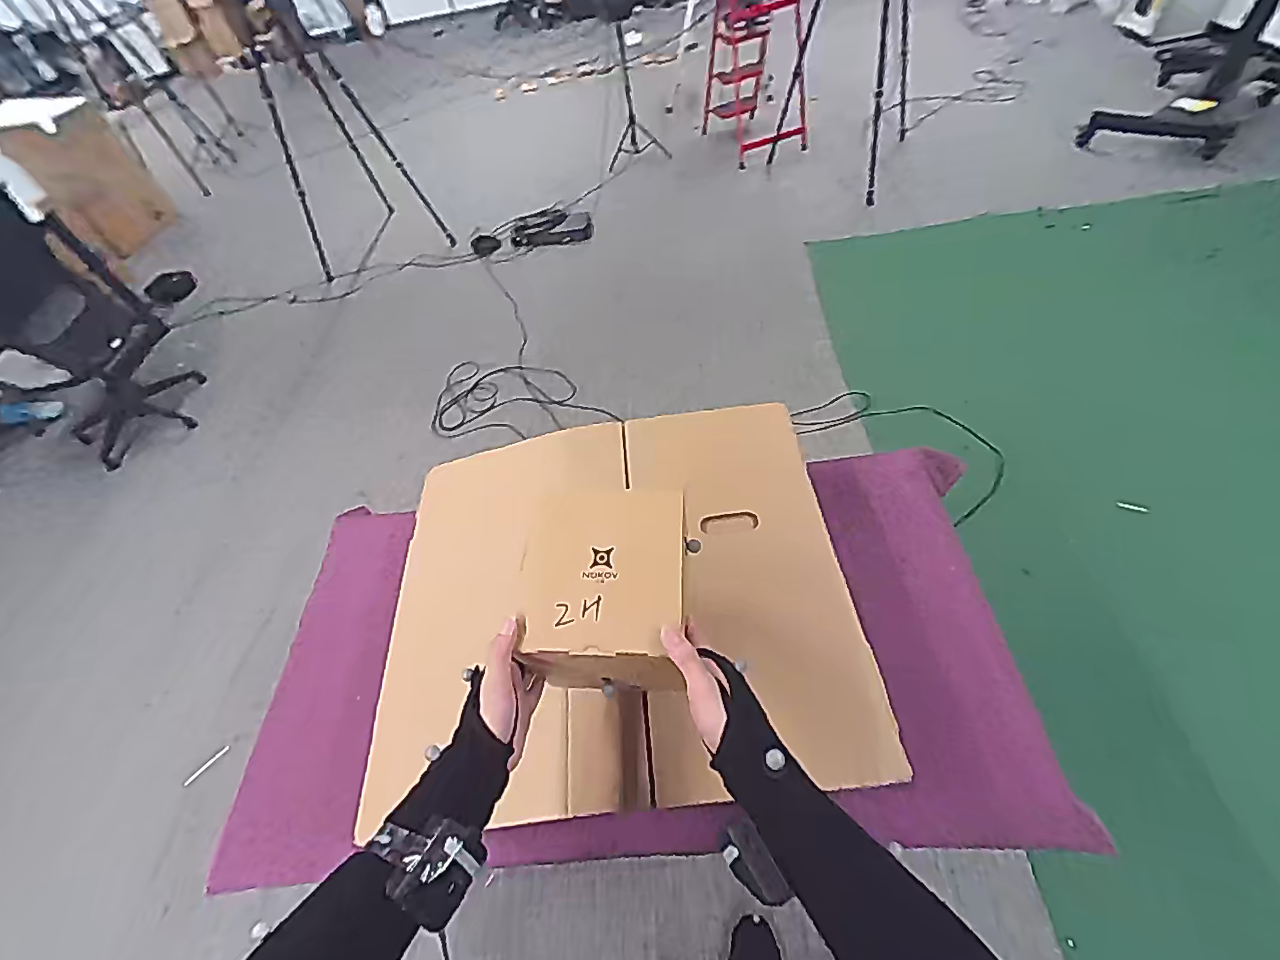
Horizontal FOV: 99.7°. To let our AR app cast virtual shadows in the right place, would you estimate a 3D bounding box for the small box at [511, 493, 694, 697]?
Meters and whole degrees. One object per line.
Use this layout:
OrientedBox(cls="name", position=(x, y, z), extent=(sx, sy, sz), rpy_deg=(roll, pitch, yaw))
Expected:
OrientedBox(cls="small box", position=(-0.026, 0.131, 0.605), extent=(0.168, 0.176, 0.179), rpy_deg=(0, 59, 8))
